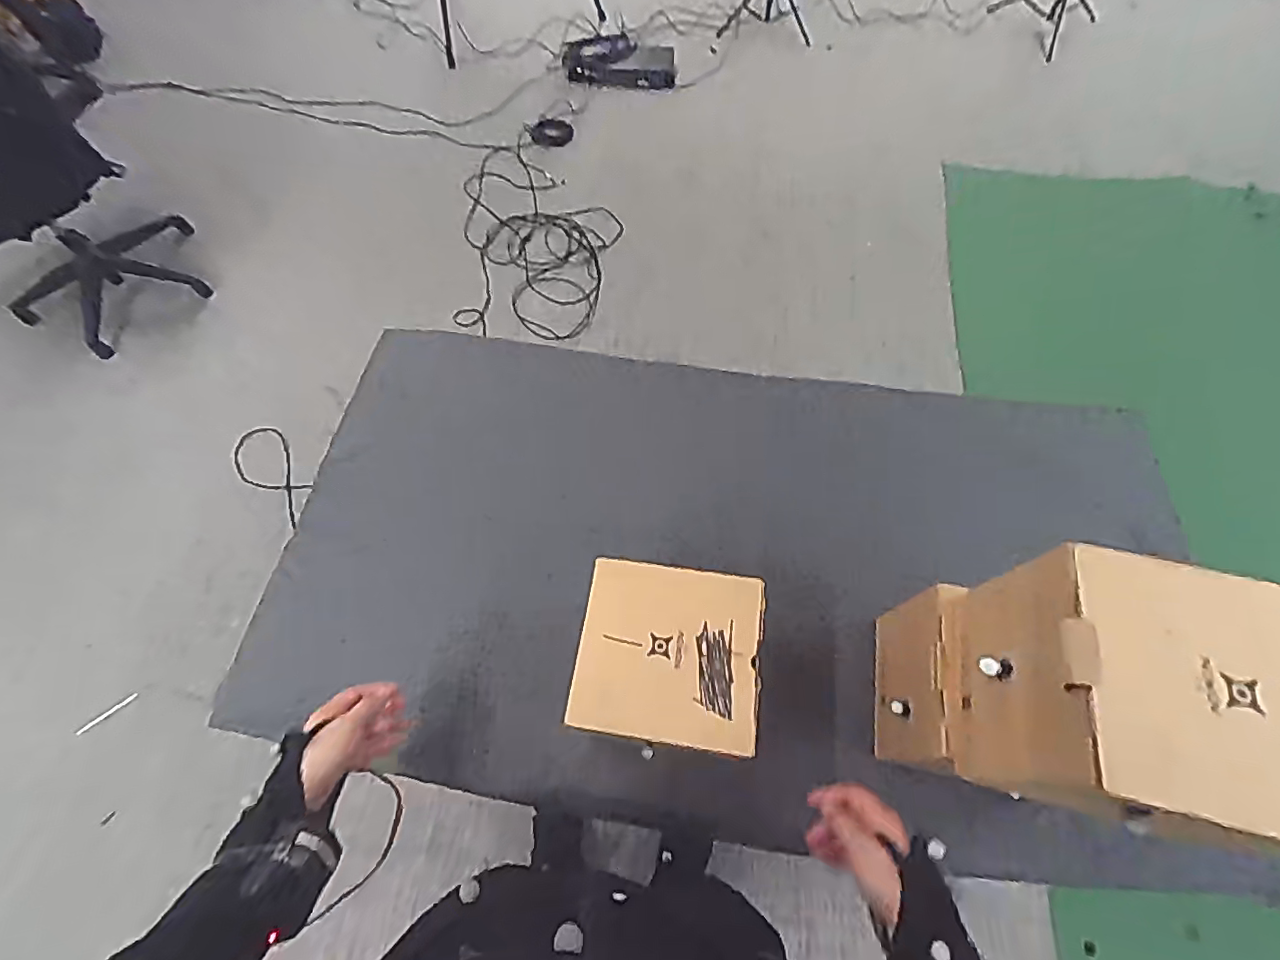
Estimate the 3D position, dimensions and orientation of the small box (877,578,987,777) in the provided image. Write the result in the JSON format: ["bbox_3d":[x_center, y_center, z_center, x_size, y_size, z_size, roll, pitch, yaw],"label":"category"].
[{"bbox_3d":[0.365,0.219,0.567,0.179,0.176,0.168,11,65,5],"label":"small box"}]

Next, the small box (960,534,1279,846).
[{"bbox_3d":[0.371,0.162,0.412,0.179,0.176,0.168,13,65,8],"label":"small box"}]

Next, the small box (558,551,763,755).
[{"bbox_3d":[0.027,0.193,0.584,0.179,0.176,0.168,7,62,6],"label":"small box"}]
